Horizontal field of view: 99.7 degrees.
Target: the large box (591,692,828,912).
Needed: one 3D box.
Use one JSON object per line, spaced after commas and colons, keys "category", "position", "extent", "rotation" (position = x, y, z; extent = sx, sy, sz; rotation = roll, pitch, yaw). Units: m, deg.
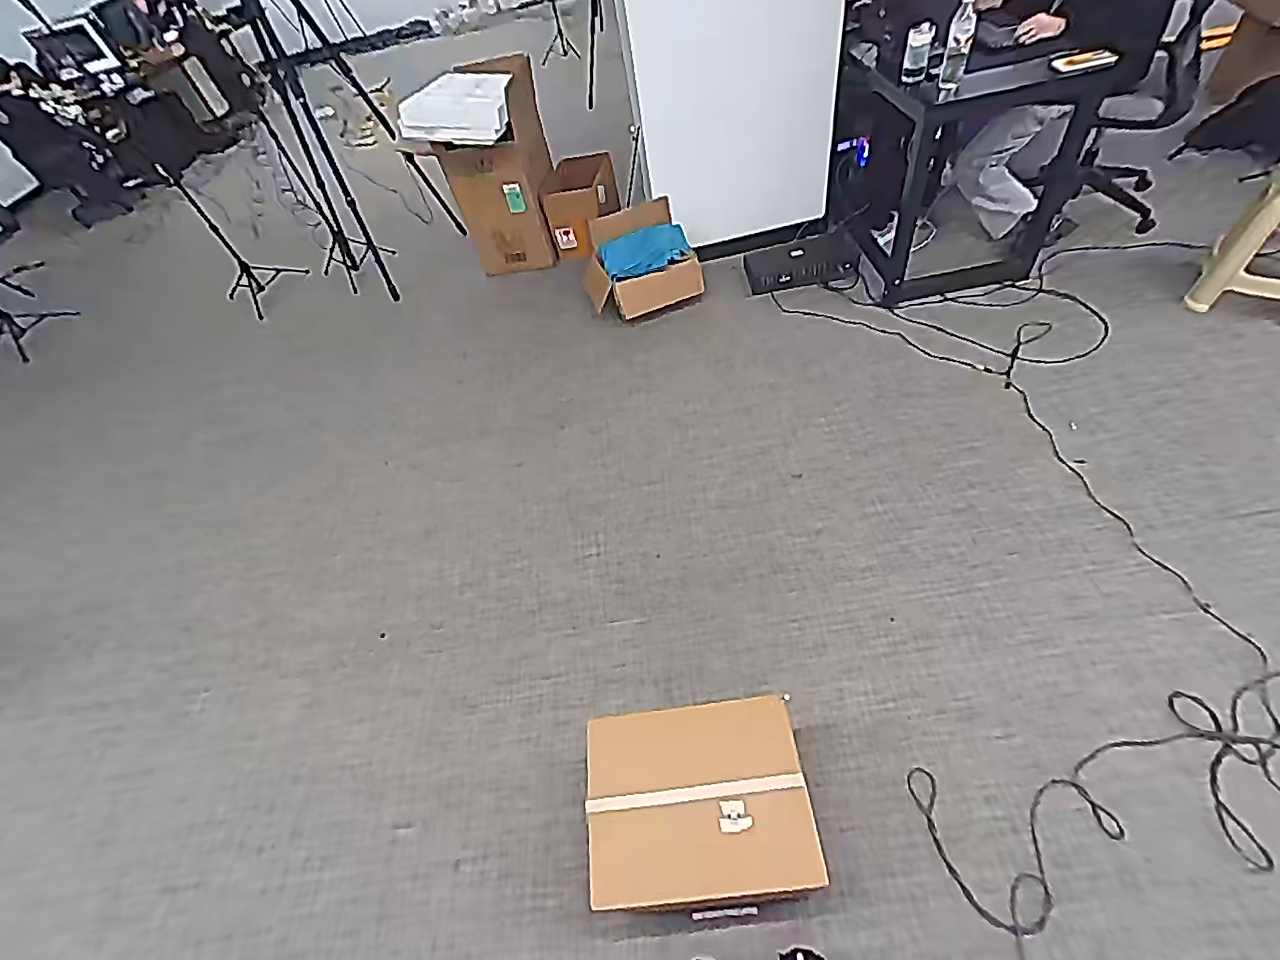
{"category": "large box", "position": [0.129, 0.671, 1.117], "extent": [0.408, 0.320, 0.320], "rotation": [-9, 50, 4]}
